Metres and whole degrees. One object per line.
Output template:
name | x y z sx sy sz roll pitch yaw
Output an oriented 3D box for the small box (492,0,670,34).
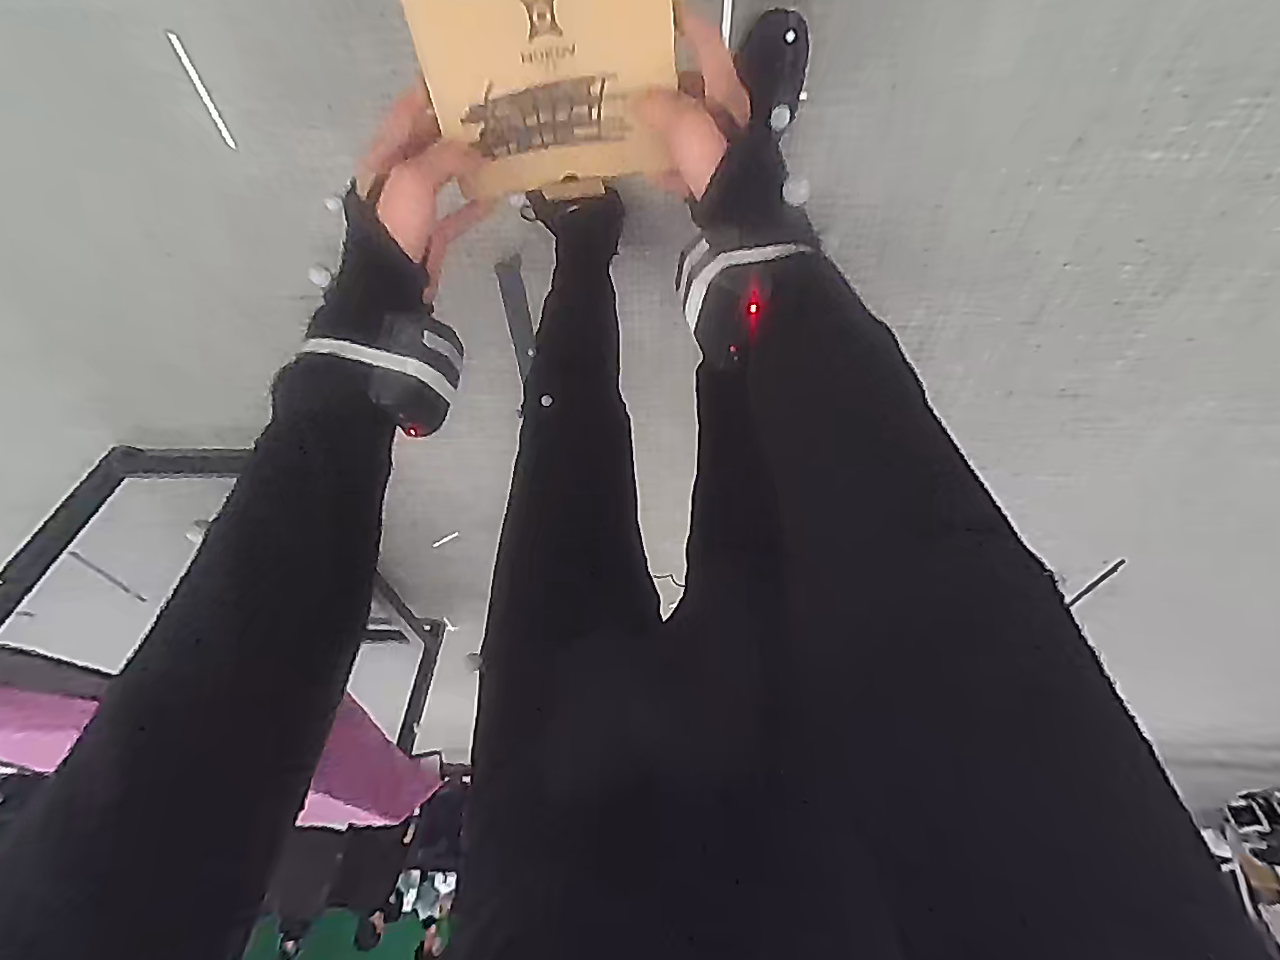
small box | -0.051 -0.539 0.489 0.168 0.176 0.179 2 143 0
